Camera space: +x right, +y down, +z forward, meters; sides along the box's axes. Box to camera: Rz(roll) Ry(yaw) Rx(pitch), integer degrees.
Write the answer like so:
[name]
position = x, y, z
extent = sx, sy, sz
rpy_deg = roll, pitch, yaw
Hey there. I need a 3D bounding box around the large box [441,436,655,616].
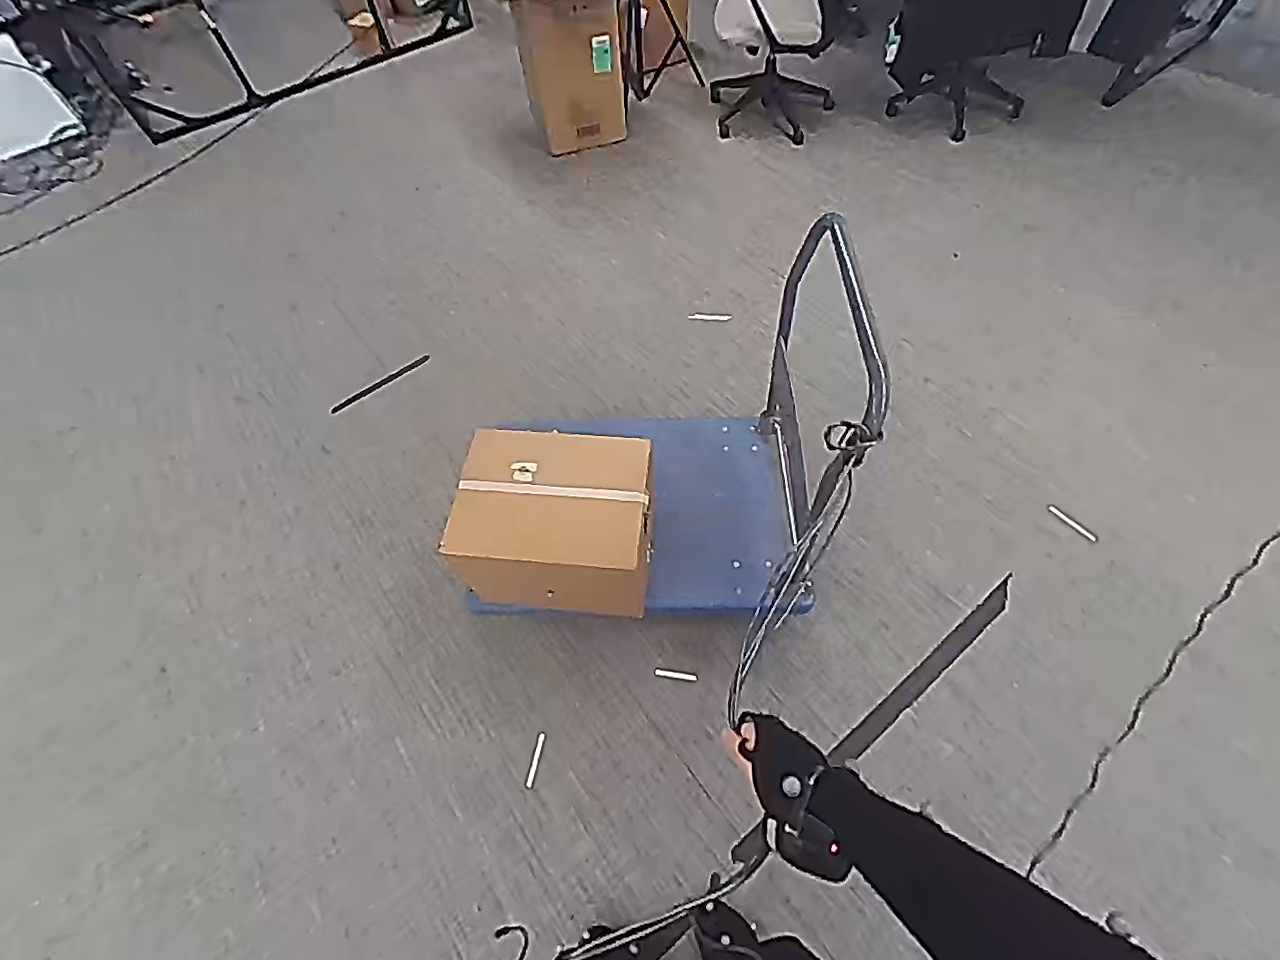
[large box]
position = -0.177, 0.115, 1.261
extent = 0.408, 0.320, 0.320
rpy_deg = 3, 58, 6
